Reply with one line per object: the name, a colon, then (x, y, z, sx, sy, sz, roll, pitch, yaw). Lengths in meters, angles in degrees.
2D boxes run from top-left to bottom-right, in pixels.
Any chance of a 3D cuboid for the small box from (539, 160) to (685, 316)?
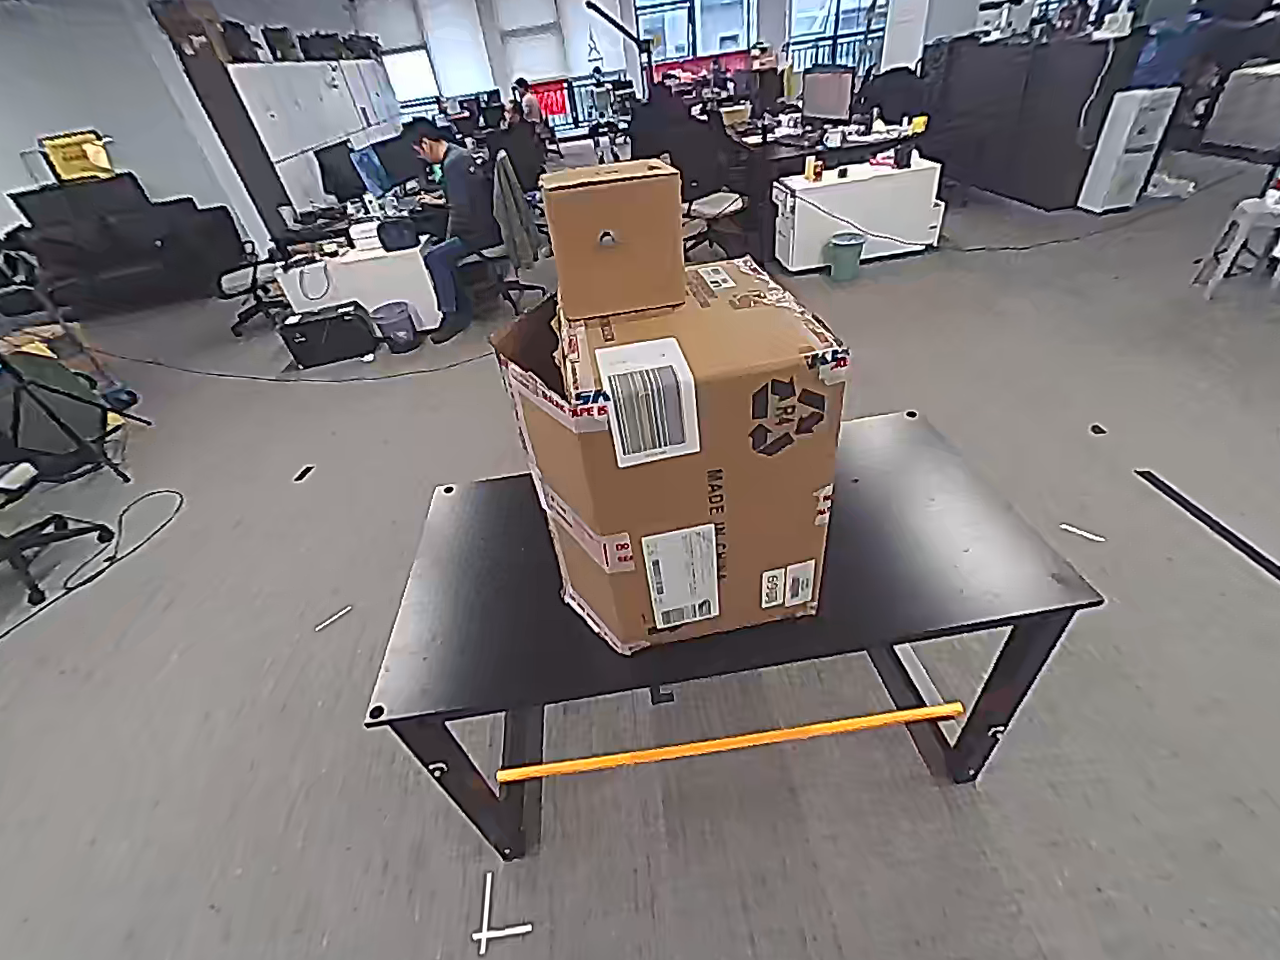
small box: (-0.040, -0.347, 0.778, 0.179, 0.176, 0.168, -11, 36, -4)
